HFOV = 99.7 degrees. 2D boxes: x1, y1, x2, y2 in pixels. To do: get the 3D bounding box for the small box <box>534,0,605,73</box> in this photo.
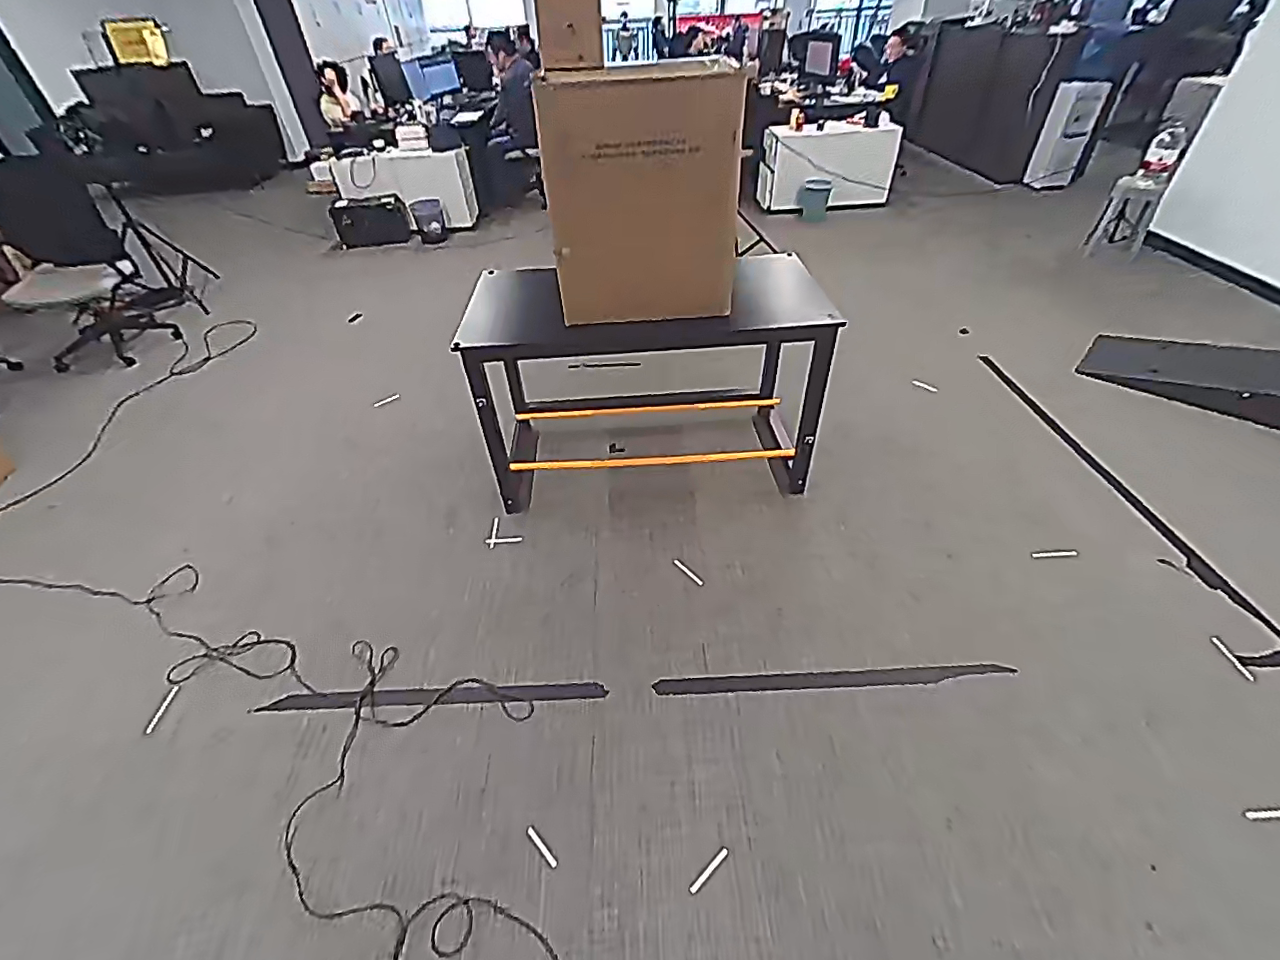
[{"bbox_3d":[-0.178,-1.179,1.421,0.168,0.176,0.179,-3,41,-1],"label":"small box"}]
